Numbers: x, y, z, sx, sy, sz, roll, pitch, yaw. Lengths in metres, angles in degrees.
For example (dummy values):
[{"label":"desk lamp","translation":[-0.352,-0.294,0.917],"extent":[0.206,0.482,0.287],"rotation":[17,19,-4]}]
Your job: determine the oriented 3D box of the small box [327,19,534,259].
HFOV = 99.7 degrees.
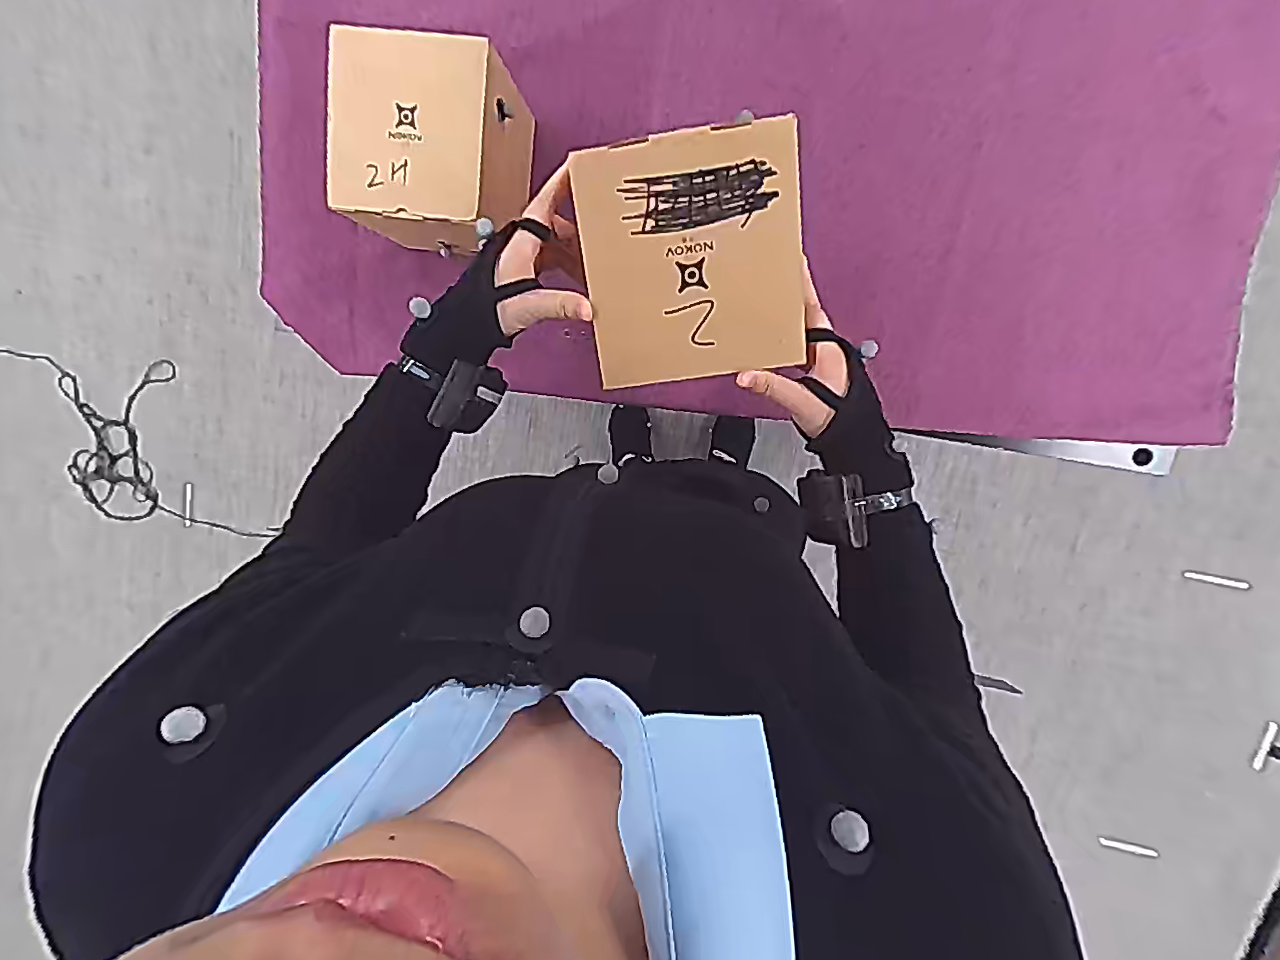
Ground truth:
[{"label":"small box","translation":[-0.226,-0.372,0.621],"extent":[0.168,0.176,0.179],"rotation":[8,101,4]}]
